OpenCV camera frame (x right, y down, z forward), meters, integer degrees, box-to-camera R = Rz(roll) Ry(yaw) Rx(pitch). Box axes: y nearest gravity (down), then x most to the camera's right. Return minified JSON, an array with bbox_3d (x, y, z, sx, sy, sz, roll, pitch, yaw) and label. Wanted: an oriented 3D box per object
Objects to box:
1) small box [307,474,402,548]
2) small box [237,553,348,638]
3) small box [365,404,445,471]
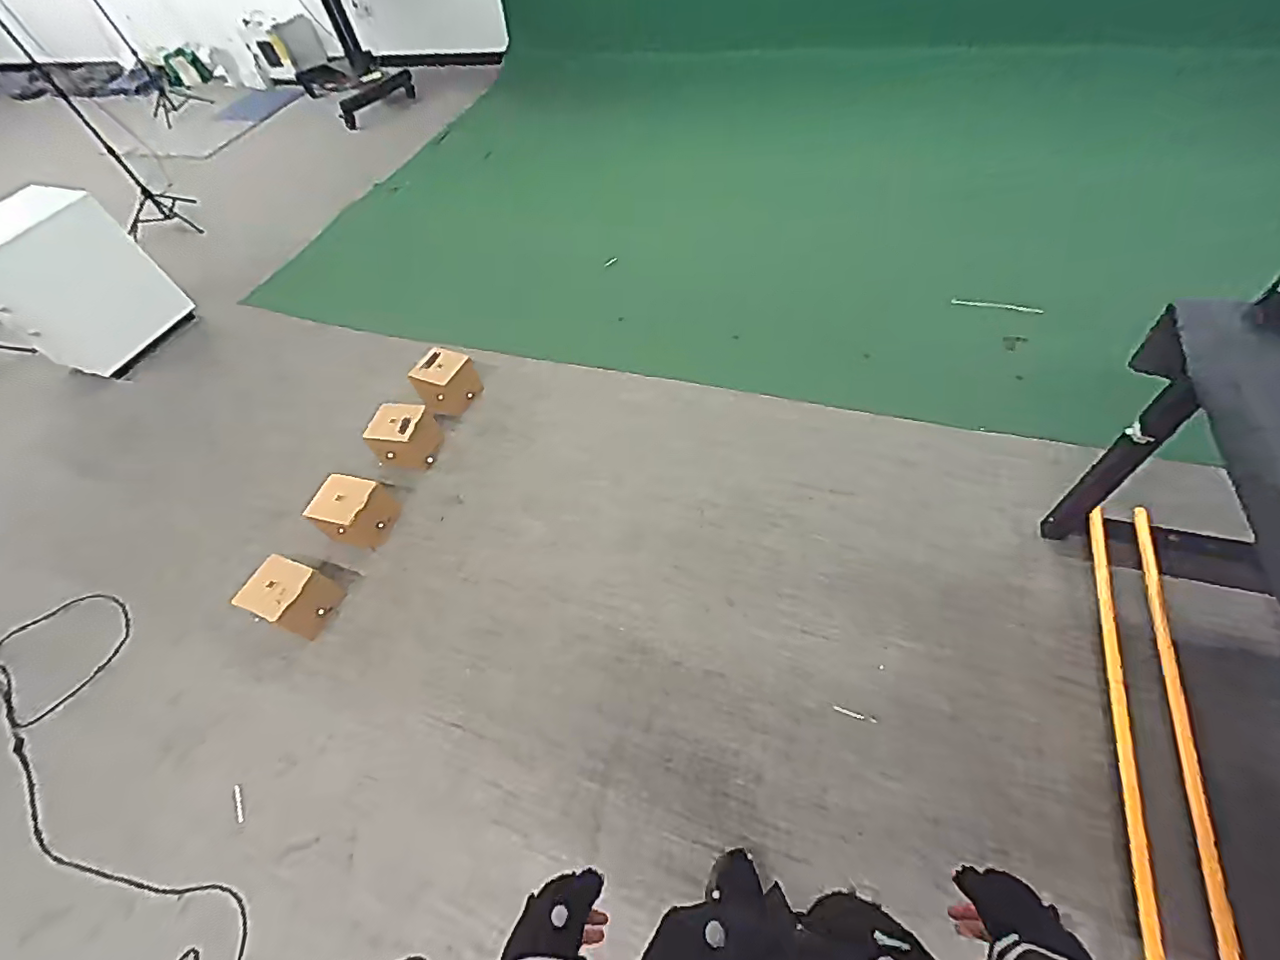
[{"bbox_3d":[-0.916,0.105,1.752,0.179,0.176,0.168,9,57,14],"label":"small box"},{"bbox_3d":[-1.015,0.345,1.592,0.179,0.176,0.168,15,59,18],"label":"small box"},{"bbox_3d":[-0.825,-0.149,1.921,0.179,0.176,0.168,5,55,12],"label":"small box"}]
